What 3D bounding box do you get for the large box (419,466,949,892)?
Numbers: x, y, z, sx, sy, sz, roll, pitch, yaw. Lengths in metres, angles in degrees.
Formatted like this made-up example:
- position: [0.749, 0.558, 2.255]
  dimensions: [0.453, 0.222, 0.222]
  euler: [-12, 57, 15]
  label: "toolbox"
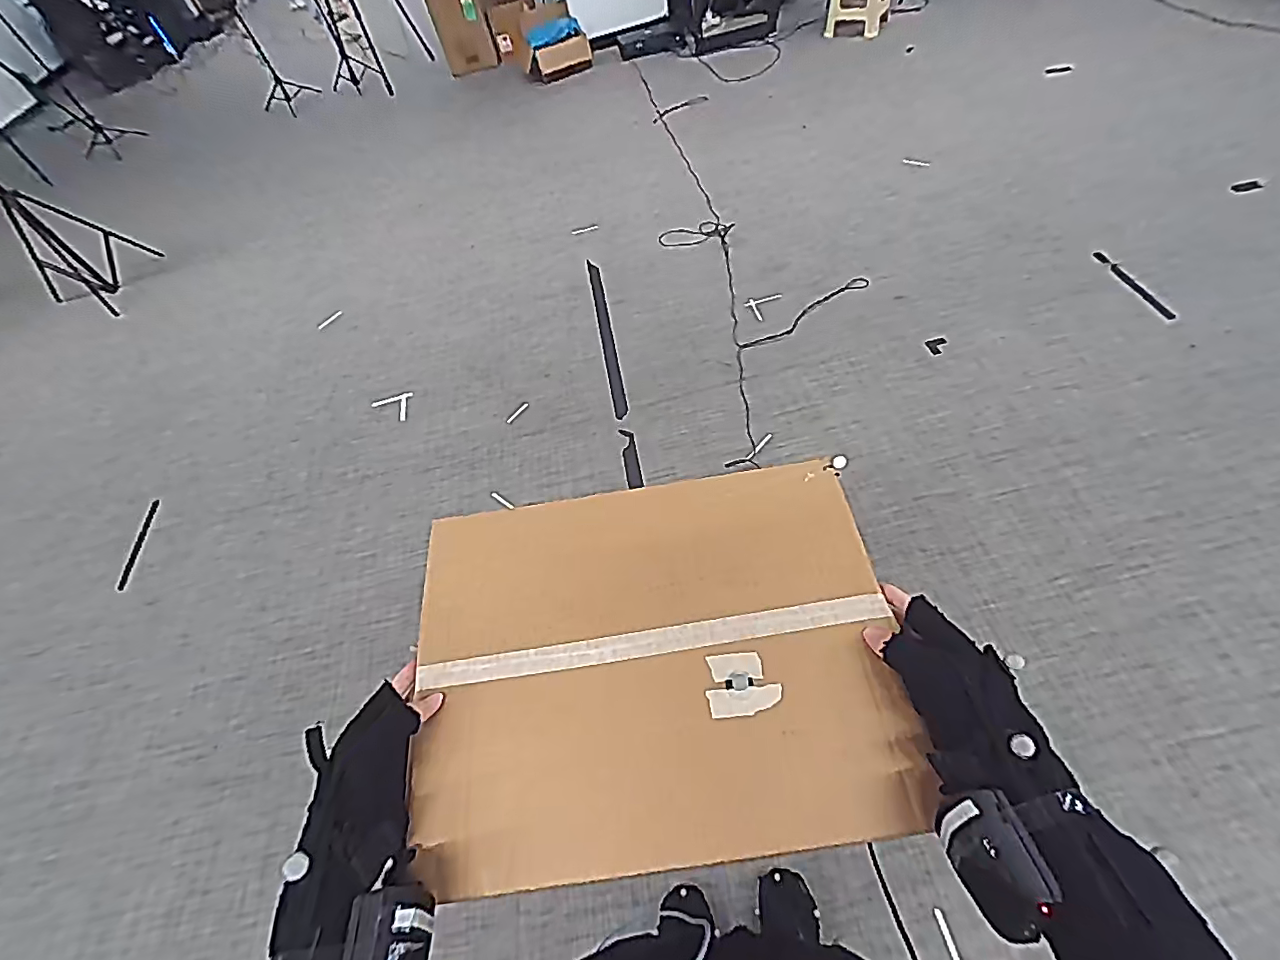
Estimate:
- position: [0.025, 0.224, 0.598]
  dimensions: [0.408, 0.320, 0.320]
  euler: [-9, 57, 0]
  label: "large box"
